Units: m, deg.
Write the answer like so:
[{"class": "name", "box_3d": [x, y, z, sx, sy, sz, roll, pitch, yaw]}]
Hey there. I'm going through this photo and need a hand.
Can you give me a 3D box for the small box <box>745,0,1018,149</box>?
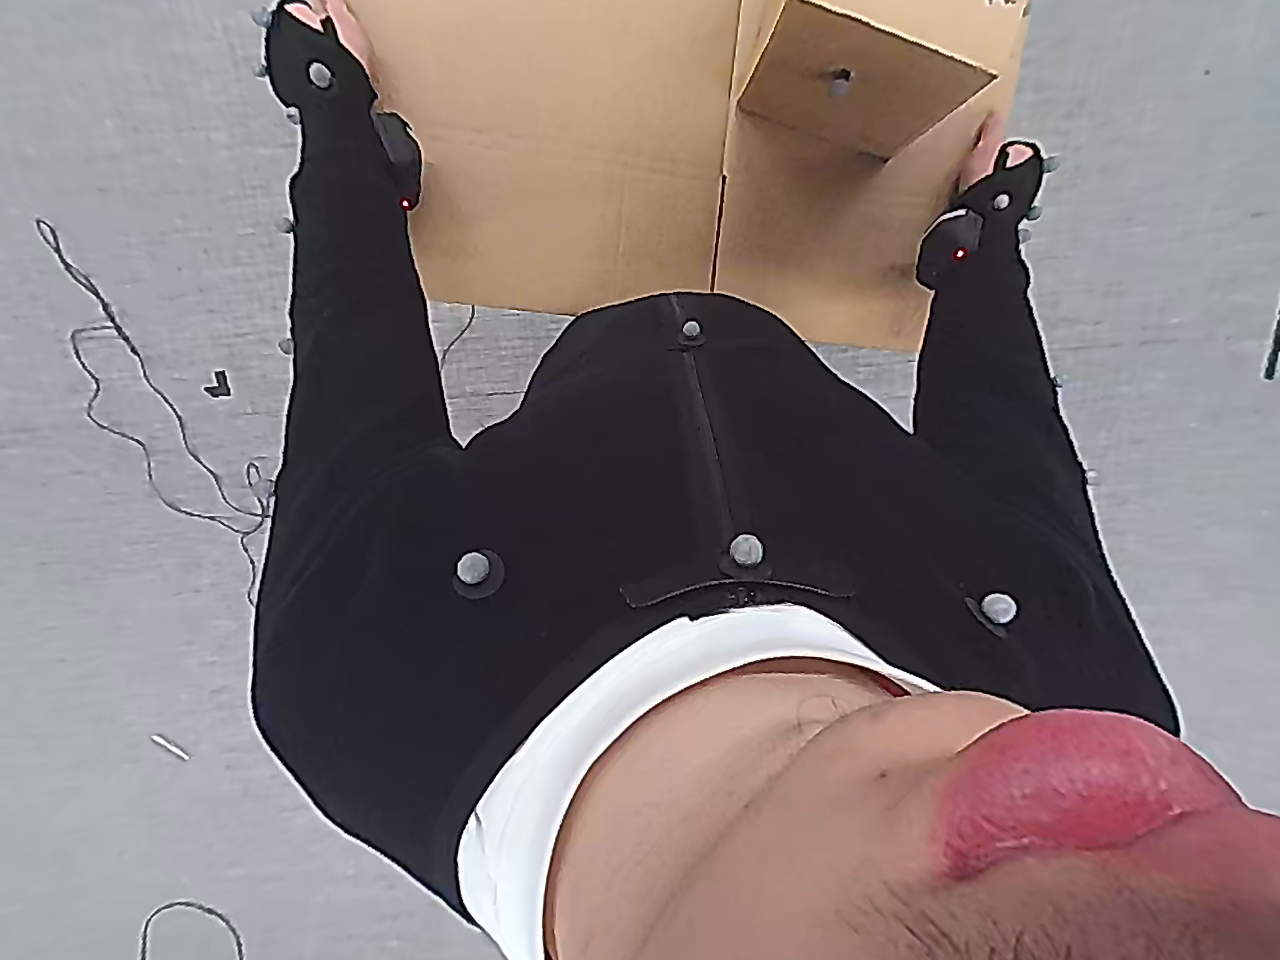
[{"class": "small box", "box_3d": [0.209, -0.428, 0.477, 0.179, 0.176, 0.168, 15, 100, -5]}]
